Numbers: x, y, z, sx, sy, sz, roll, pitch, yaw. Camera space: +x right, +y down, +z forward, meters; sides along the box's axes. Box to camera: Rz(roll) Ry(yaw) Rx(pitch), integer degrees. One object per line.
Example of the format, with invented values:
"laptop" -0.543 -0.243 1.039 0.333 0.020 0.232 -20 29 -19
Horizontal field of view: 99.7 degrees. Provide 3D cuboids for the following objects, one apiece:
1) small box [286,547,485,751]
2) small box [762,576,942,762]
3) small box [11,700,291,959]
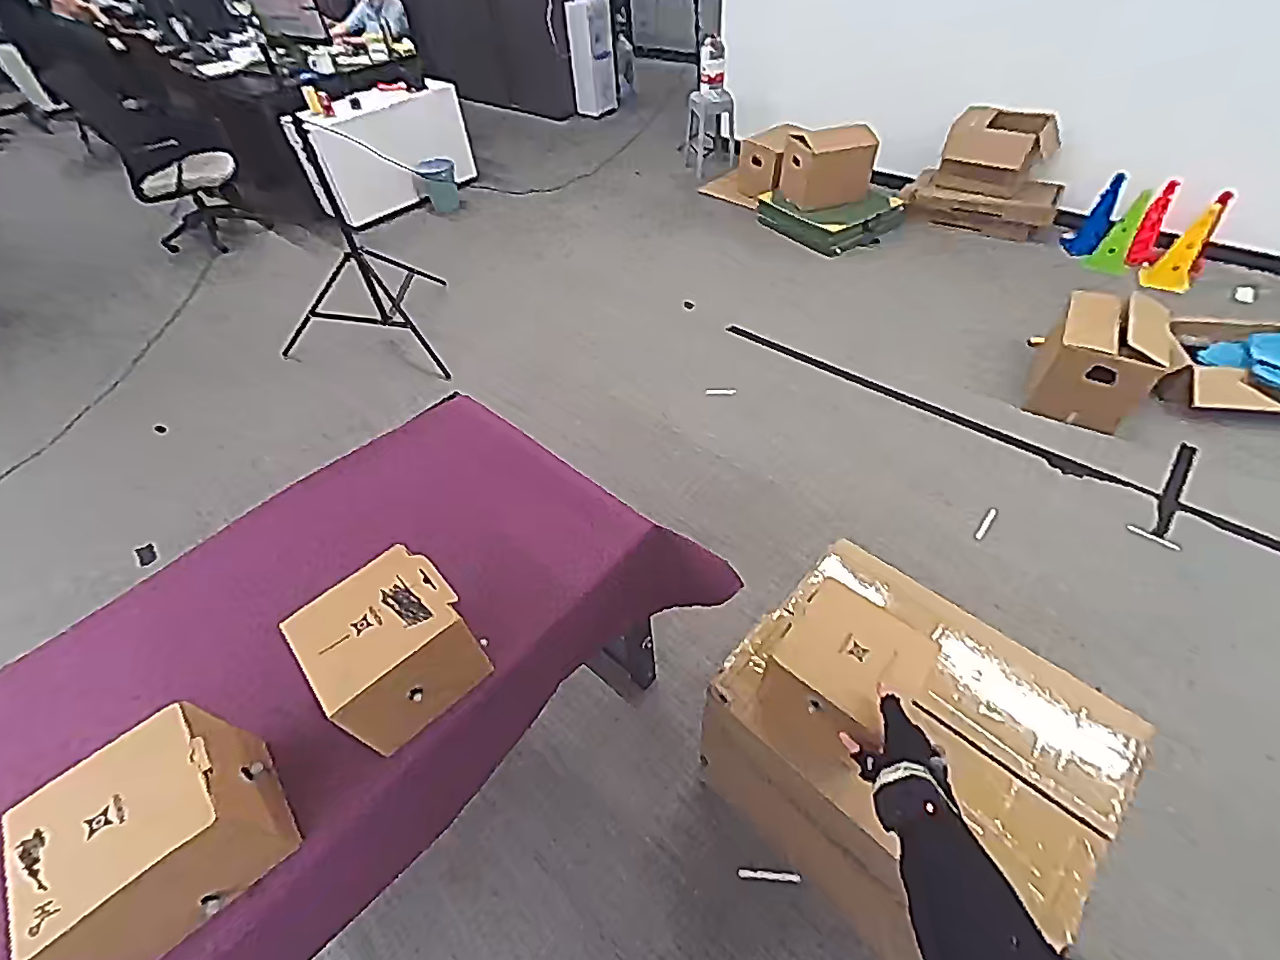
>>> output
"small box" -0.336 0.233 0.751 0.179 0.176 0.168 -37 55 -24
"small box" 0.298 0.282 0.799 0.179 0.176 0.168 33 61 27
"small box" -0.538 0.399 0.620 0.179 0.176 0.168 -35 54 -25
